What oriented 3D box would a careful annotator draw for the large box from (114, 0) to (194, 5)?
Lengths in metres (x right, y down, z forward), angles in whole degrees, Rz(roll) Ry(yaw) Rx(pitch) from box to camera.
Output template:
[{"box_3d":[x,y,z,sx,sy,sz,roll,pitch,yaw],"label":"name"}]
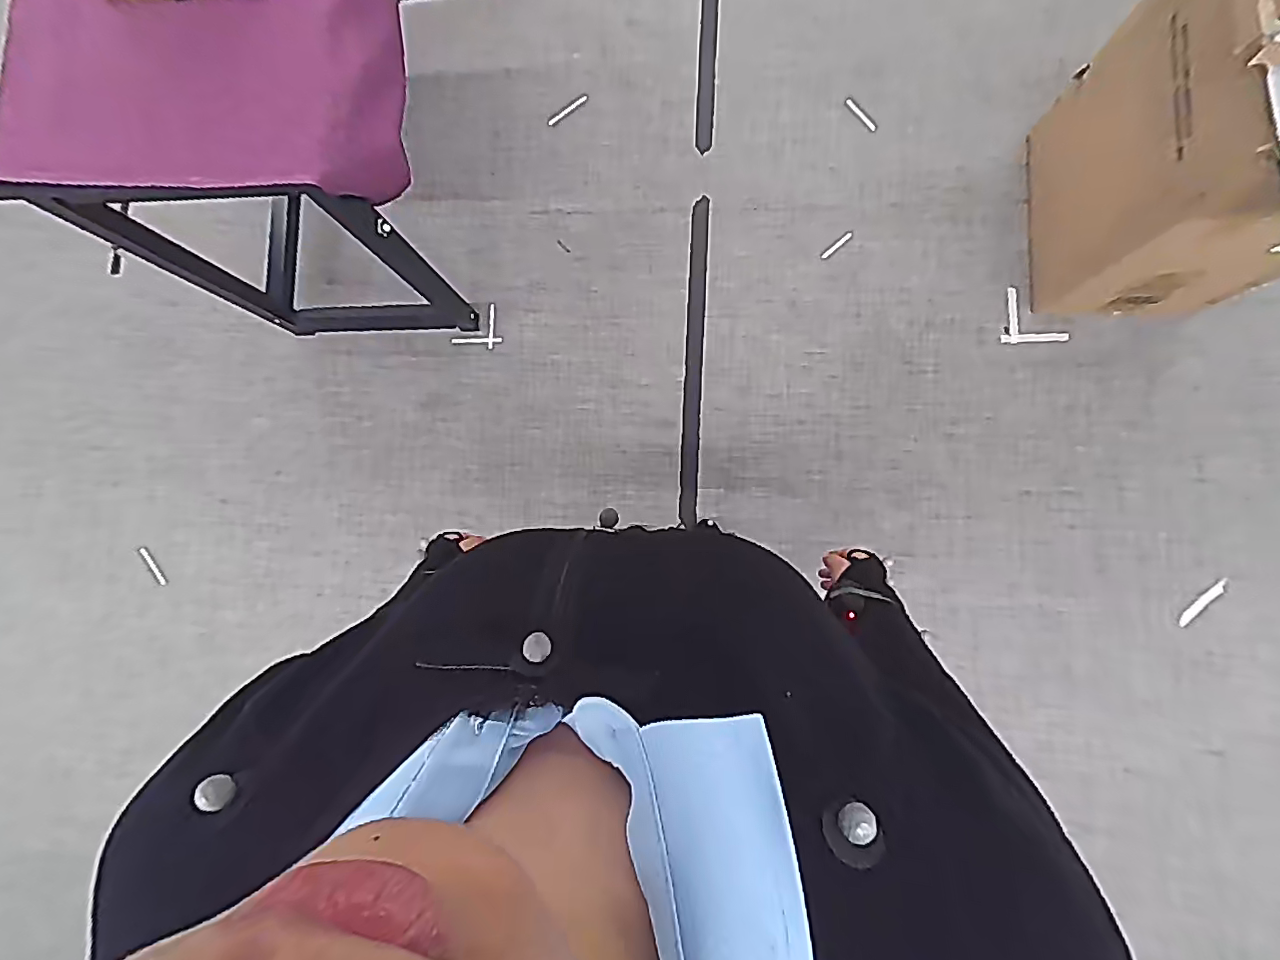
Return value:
[{"box_3d":[-0.773,-1.029,0.790,0.320,0.320,0.408,2,87,7],"label":"large box"}]
